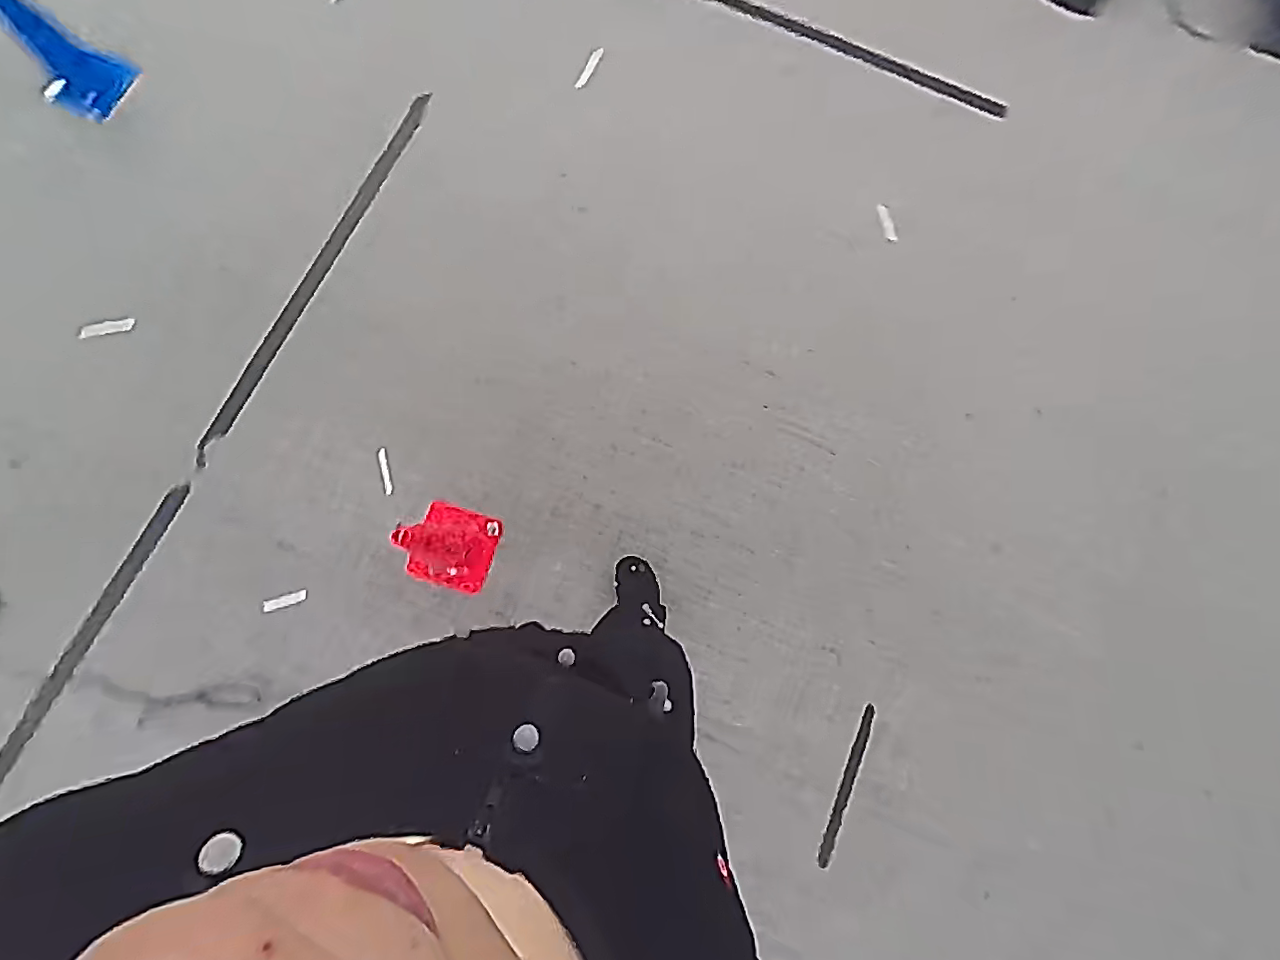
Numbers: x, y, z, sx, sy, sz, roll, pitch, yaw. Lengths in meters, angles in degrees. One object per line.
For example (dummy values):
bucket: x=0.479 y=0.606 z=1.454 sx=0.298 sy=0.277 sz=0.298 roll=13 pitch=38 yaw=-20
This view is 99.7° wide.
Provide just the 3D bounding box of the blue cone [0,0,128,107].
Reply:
blue cone: x=-1.590 y=-1.200 z=1.395 sx=0.192 sy=0.380 sz=0.193 roll=25 pitch=80 yaw=4

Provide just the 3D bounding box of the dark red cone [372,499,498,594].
dark red cone: x=-0.466 y=0.137 z=1.169 sx=0.201 sy=0.394 sz=0.202 roll=17 pitch=80 yaw=2
